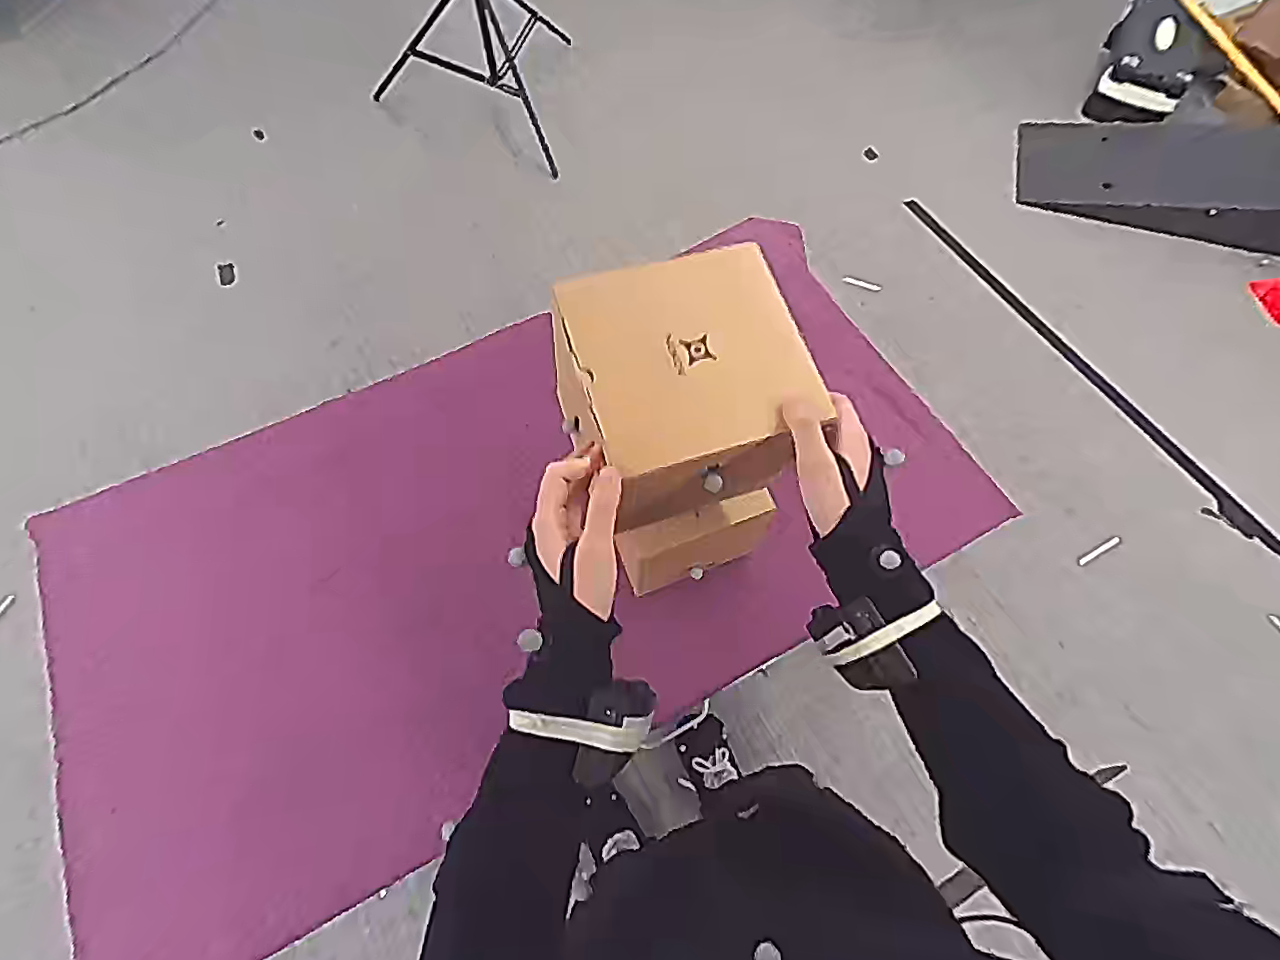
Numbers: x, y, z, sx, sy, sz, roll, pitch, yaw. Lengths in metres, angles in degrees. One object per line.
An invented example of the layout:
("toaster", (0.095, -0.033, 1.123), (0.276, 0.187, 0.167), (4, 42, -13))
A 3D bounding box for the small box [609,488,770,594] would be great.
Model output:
("small box", (0.036, 0.022, 0.682), (0.168, 0.176, 0.179), (-19, 67, -9))

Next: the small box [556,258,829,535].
("small box", (0.031, -0.064, 0.489), (0.179, 0.176, 0.168), (-16, 73, -10))
